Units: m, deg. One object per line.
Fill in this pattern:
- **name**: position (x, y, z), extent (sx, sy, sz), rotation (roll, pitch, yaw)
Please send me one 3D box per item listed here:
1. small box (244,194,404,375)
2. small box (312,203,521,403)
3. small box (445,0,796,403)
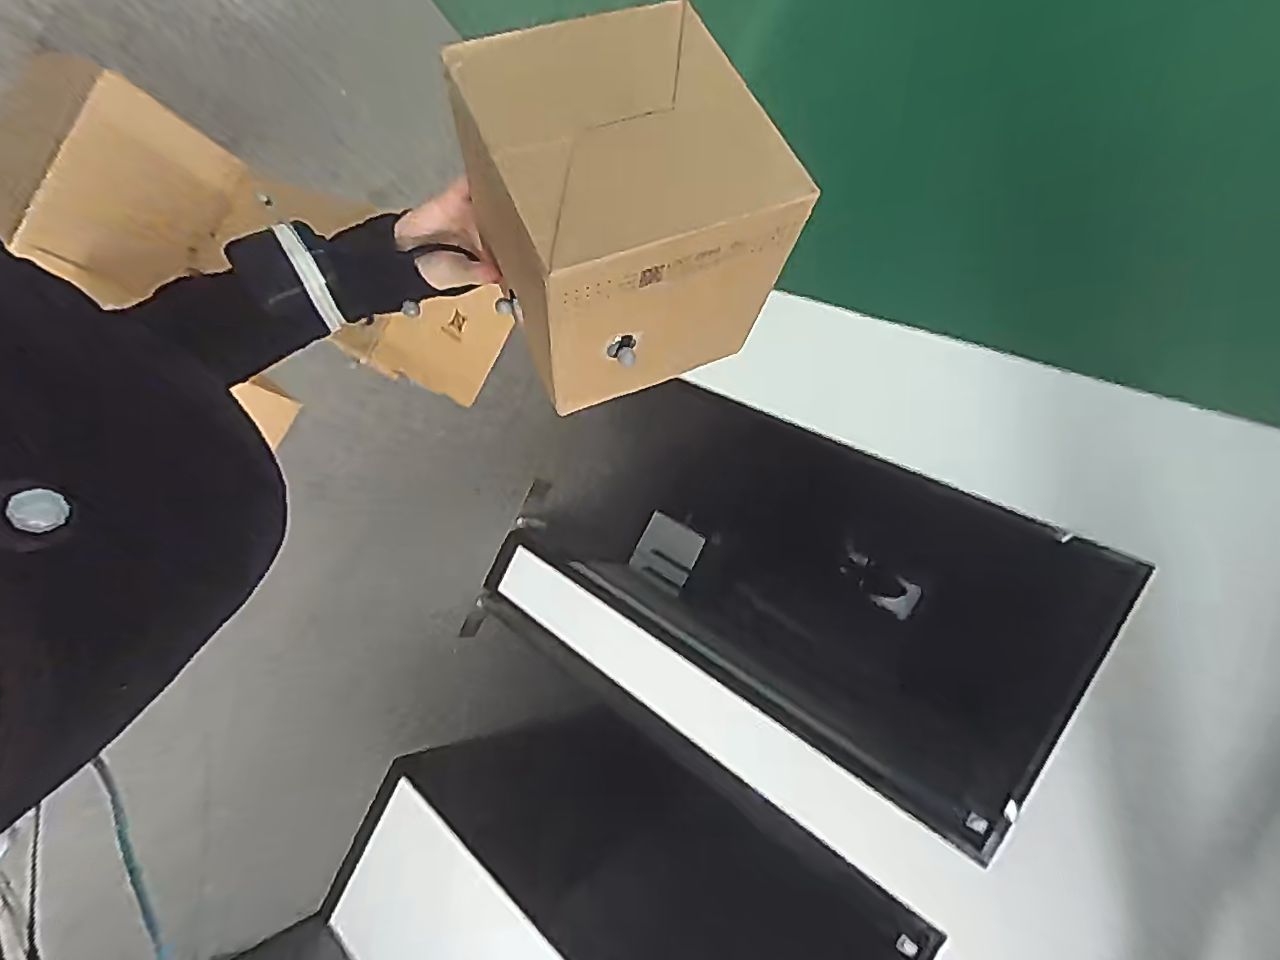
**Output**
- **small box**: position (-0.419, -0.285, 0.790), extent (0.168, 0.176, 0.179), rotation (-60, 151, -5)
- **small box**: position (-0.287, -0.231, 0.710), extent (0.179, 0.176, 0.168), rotation (-63, 152, 0)
- **small box**: position (-0.016, -0.188, 0.375), extent (0.168, 0.179, 0.176), rotation (-23, 165, -13)
